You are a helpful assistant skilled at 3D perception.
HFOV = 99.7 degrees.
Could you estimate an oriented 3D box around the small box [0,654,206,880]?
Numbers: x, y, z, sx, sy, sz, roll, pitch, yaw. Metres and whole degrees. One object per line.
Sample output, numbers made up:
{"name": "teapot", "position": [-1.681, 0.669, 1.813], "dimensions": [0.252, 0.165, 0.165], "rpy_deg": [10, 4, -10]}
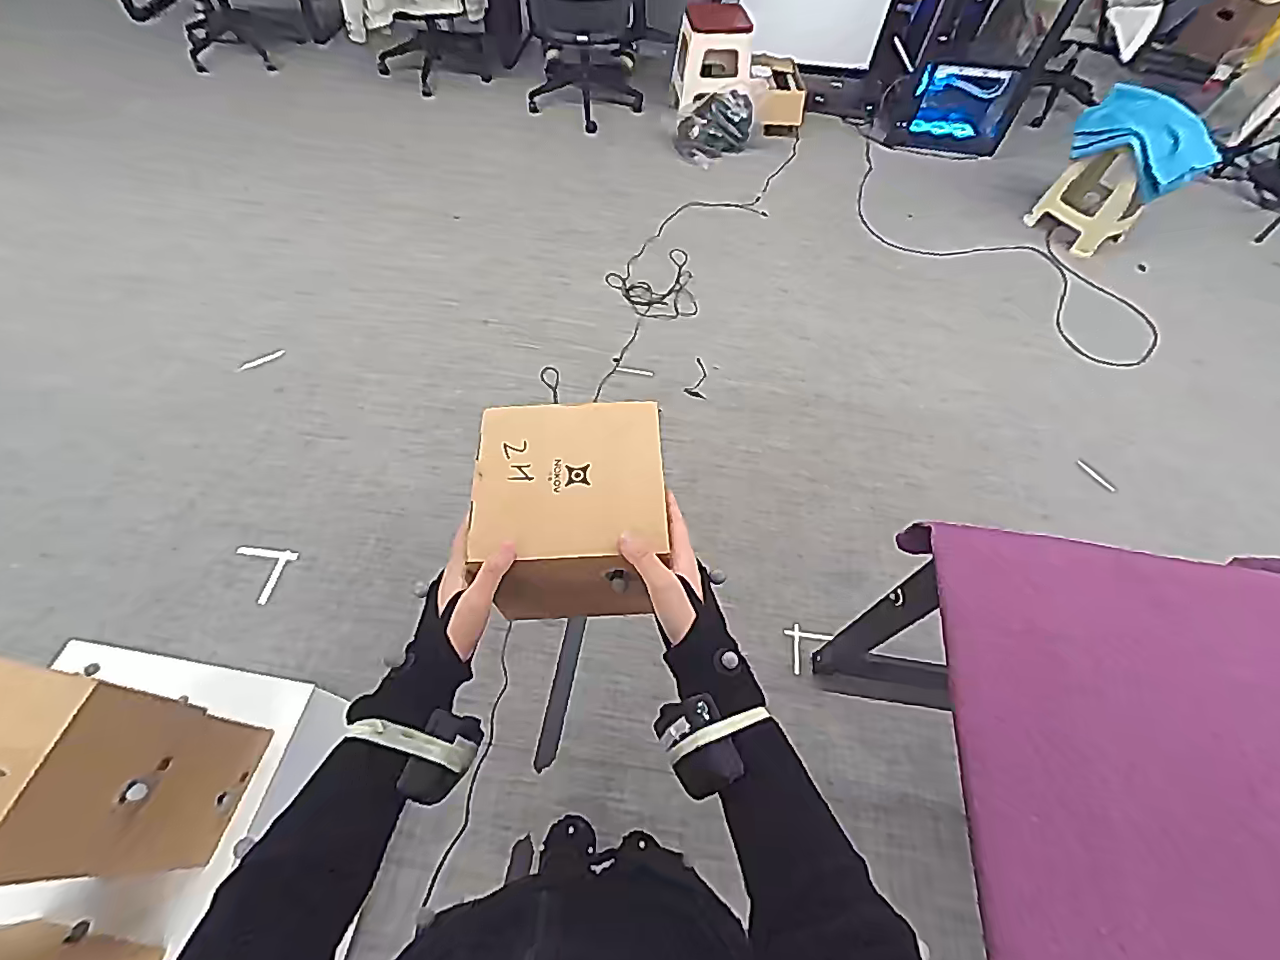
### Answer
{"name": "small box", "position": [-0.603, 0.280, 0.536], "dimensions": [0.179, 0.176, 0.168], "rpy_deg": [11, 59, 3]}

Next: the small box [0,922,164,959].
{"name": "small box", "position": [-0.659, 0.573, 0.544], "dimensions": [0.179, 0.176, 0.168], "rpy_deg": [9, 59, 4]}

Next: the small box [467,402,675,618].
{"name": "small box", "position": [-0.061, 0.037, 0.559], "dimensions": [0.179, 0.176, 0.168], "rpy_deg": [-3, 58, -1]}
